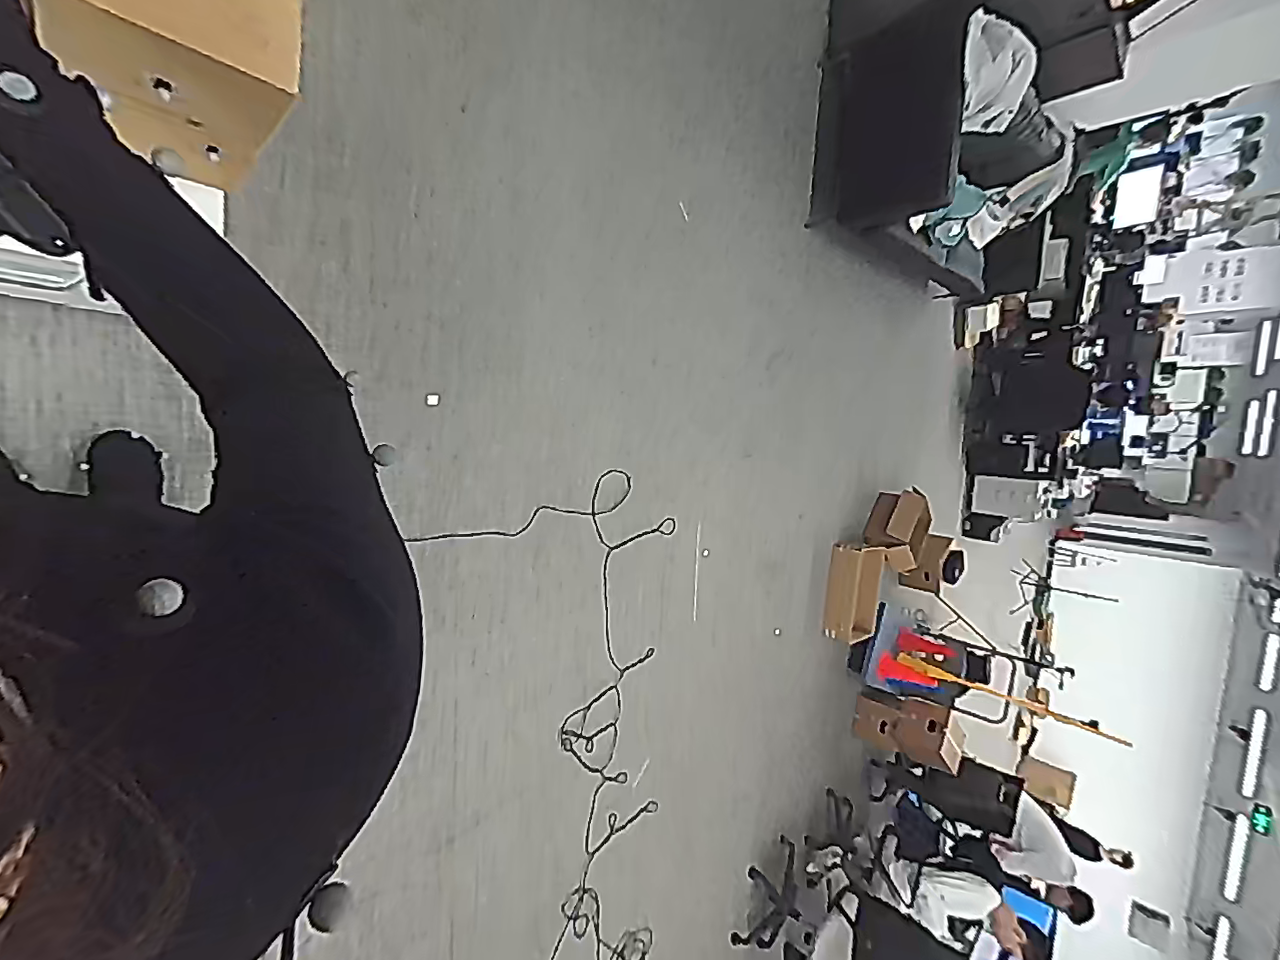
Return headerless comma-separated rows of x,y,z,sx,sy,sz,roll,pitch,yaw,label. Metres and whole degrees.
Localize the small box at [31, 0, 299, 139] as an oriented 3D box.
-0.421,-0.448,0.485,0.168,0.176,0.179,1,95,-46,small box
